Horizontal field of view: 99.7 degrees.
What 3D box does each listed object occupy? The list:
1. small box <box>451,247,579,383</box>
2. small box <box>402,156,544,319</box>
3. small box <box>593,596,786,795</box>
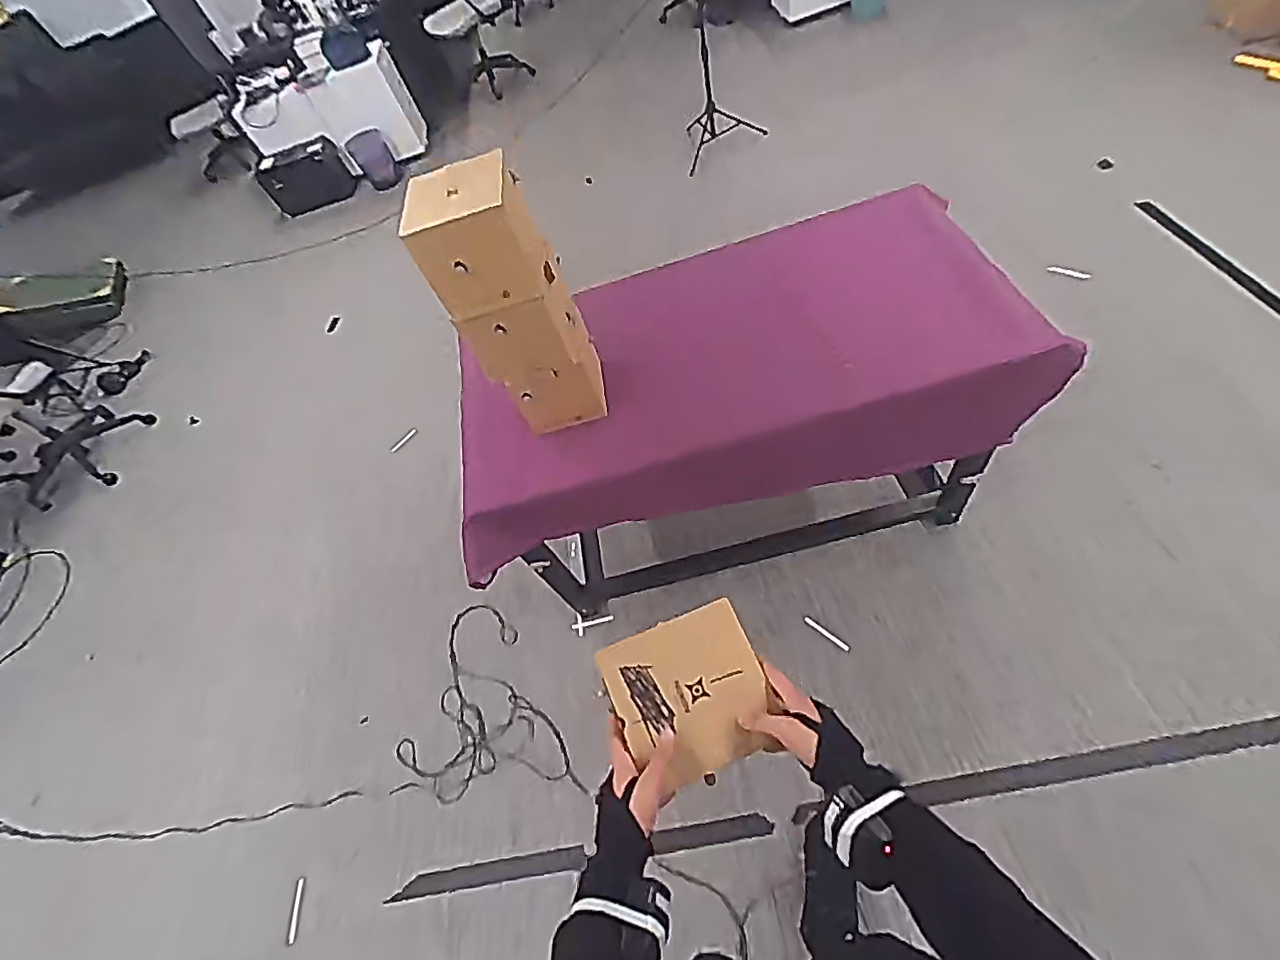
[{"bbox_3d":[-0.229,-0.306,1.032,0.179,0.176,0.168,-9,56,10],"label":"small box"},{"bbox_3d":[-0.266,-0.390,0.898,0.168,0.176,0.179,-15,54,6],"label":"small box"},{"bbox_3d":[0.054,0.273,0.684,0.179,0.176,0.168,-20,66,-11],"label":"small box"}]
